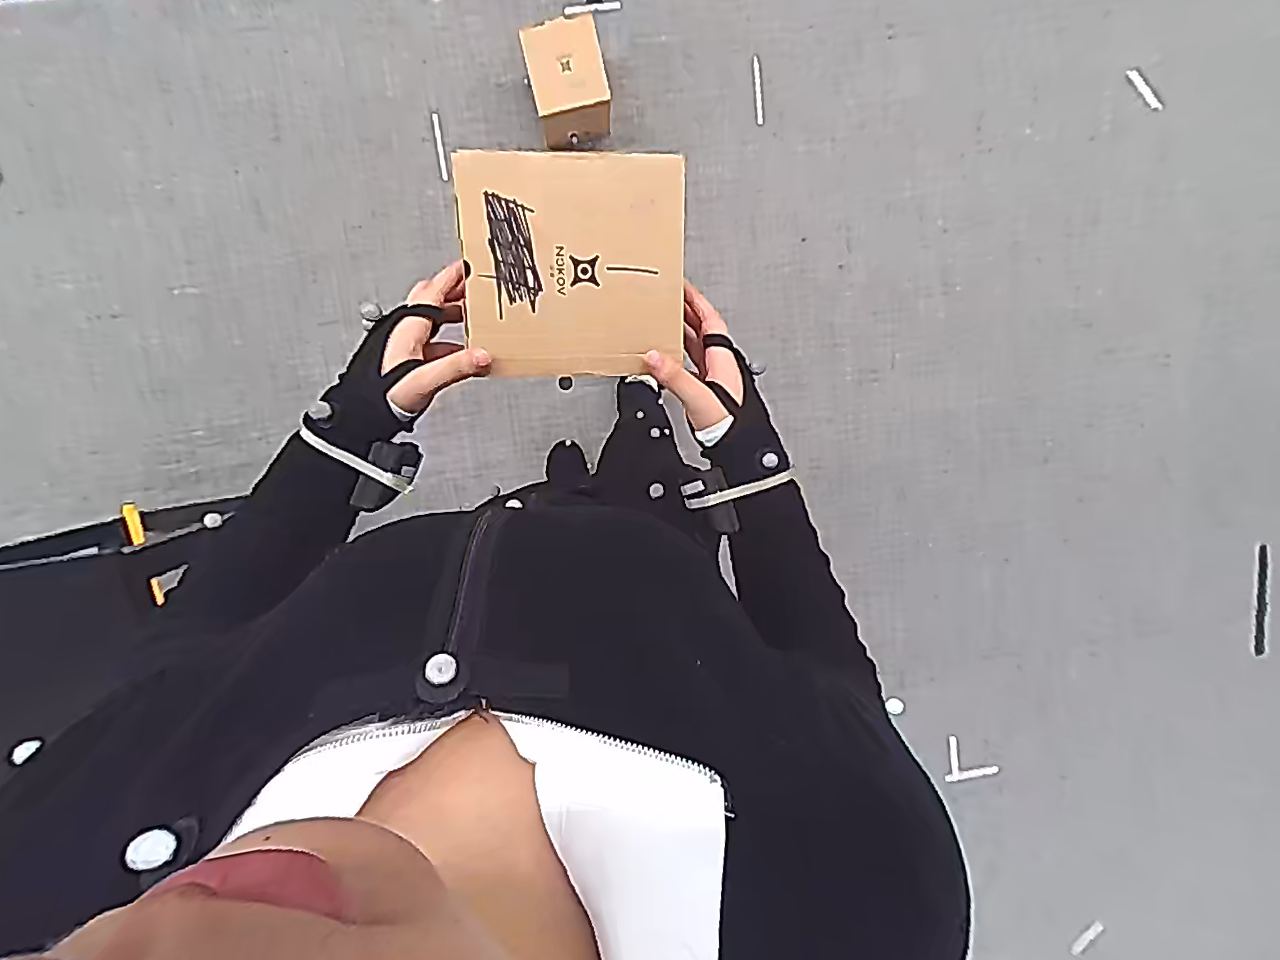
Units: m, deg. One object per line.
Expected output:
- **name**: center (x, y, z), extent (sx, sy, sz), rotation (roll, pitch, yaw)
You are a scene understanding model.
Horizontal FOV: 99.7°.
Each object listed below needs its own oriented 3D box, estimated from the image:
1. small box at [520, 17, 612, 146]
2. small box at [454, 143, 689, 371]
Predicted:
- **small box**: center (-0.165, -0.902, 1.247), extent (0.168, 0.176, 0.179), rotation (-14, 101, 0)
- **small box**: center (-0.055, -0.185, 0.494), extent (0.179, 0.176, 0.168), rotation (-1, 104, -4)
